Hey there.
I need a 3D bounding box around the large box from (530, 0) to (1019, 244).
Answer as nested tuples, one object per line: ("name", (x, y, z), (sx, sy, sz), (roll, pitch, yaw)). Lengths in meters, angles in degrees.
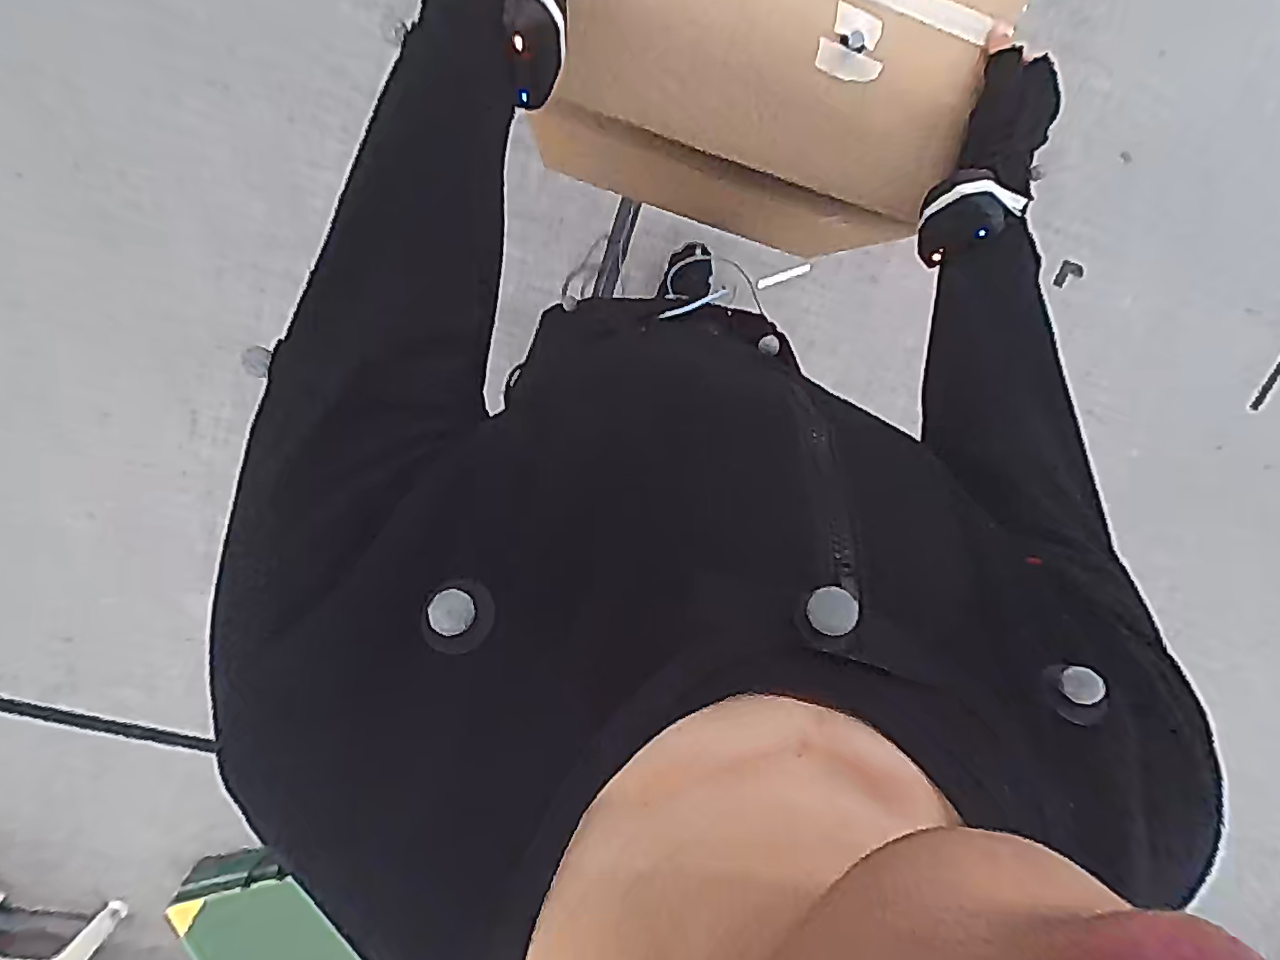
("large box", (0.120, -0.487, 0.590), (0.408, 0.320, 0.320), (14, 107, -10))
